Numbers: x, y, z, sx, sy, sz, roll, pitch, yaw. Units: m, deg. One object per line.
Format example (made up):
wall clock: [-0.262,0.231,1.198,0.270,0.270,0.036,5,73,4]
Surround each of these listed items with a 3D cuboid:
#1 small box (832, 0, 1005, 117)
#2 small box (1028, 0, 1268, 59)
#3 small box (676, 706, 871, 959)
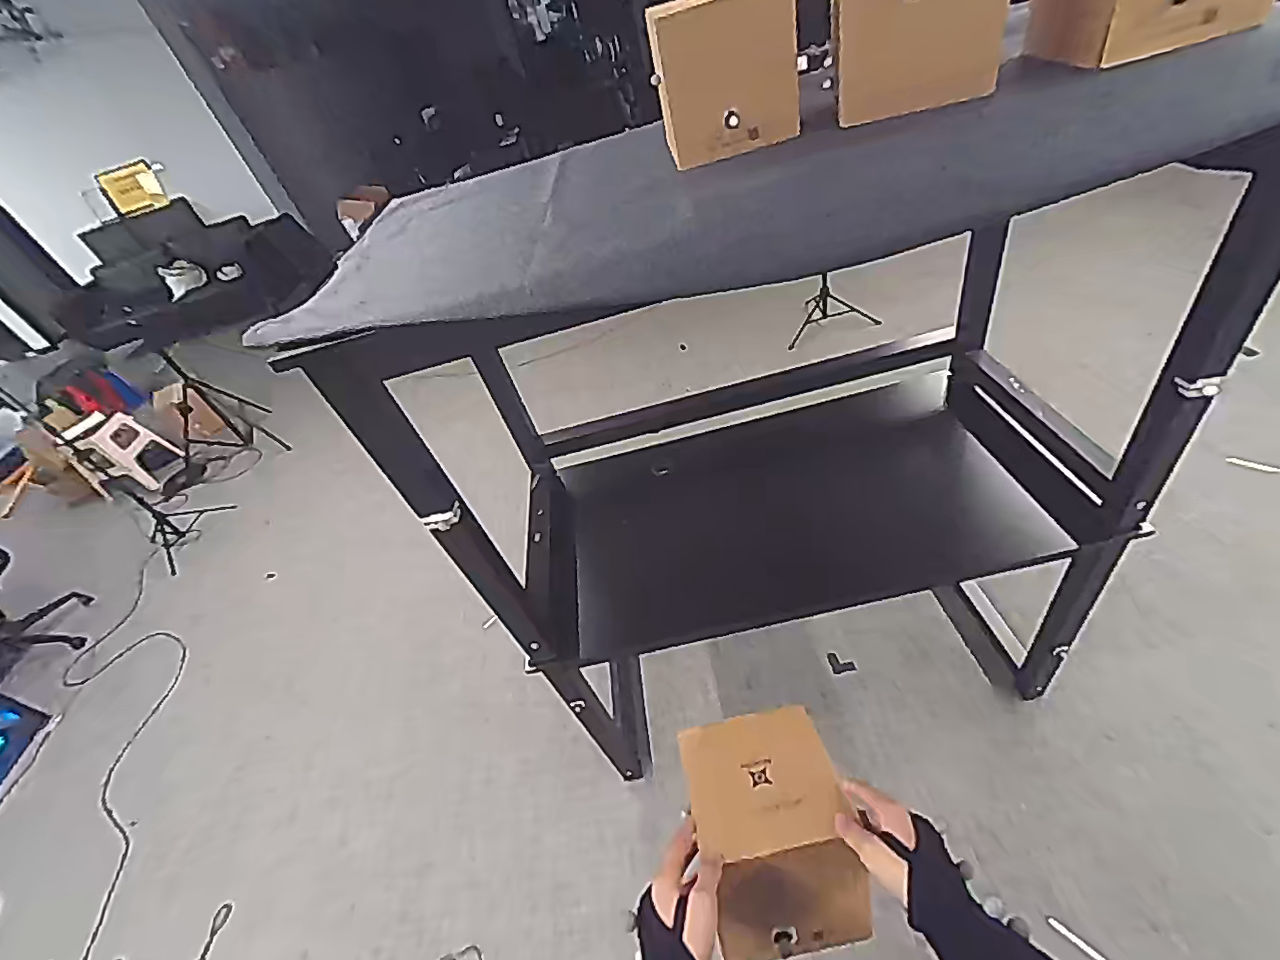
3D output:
small box: [0.332,-0.571,0.662,0.179,0.176,0.168,-3,44,17]
small box: [0.574,-0.596,0.601,0.168,0.176,0.179,-11,42,9]
small box: [0.143,0.398,0.616,0.168,0.176,0.179,-12,19,-1]
